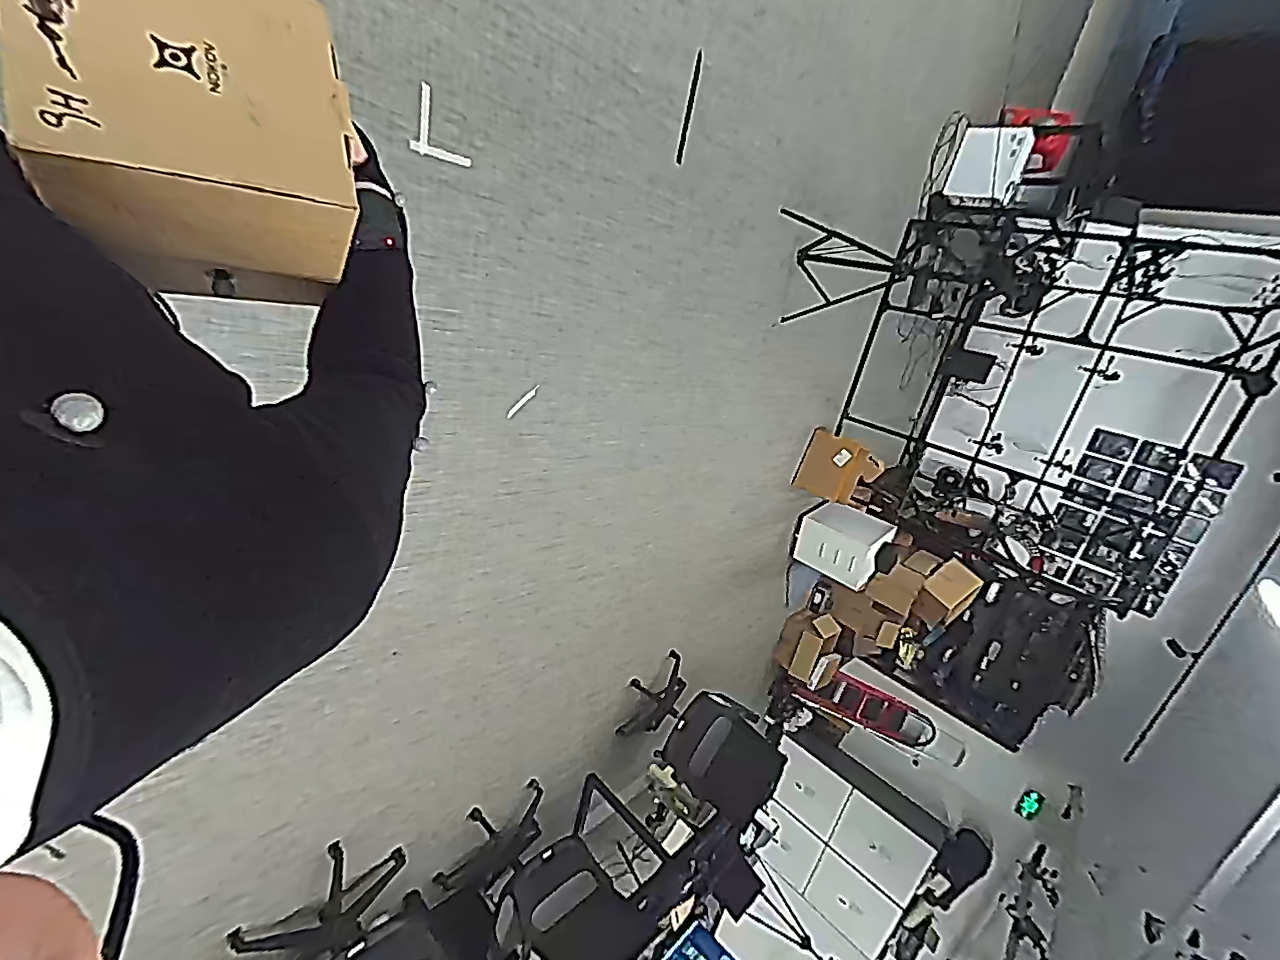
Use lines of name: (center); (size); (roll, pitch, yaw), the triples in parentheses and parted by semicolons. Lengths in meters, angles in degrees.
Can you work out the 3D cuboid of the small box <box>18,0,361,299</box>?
small box: (-0.343, -0.261, 0.433); (0.179, 0.176, 0.168); (-7, 83, -37)
